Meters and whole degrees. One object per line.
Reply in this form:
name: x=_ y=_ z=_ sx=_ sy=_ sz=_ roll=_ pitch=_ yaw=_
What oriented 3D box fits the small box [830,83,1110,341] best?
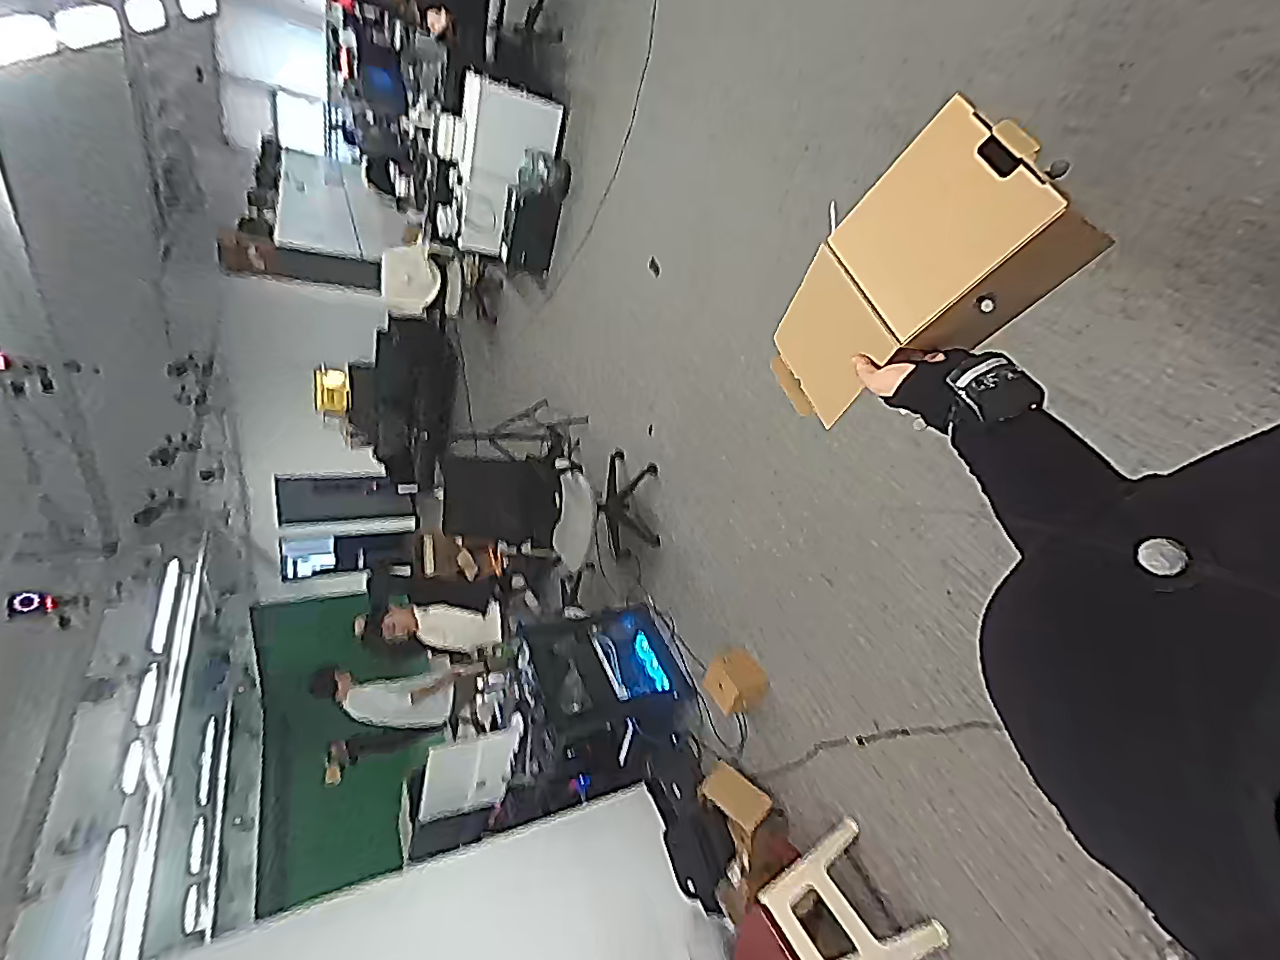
small box: x=0.355 y=-0.272 z=0.594 sx=0.179 sy=0.176 sz=0.168 roll=-45 pitch=60 yaw=45
